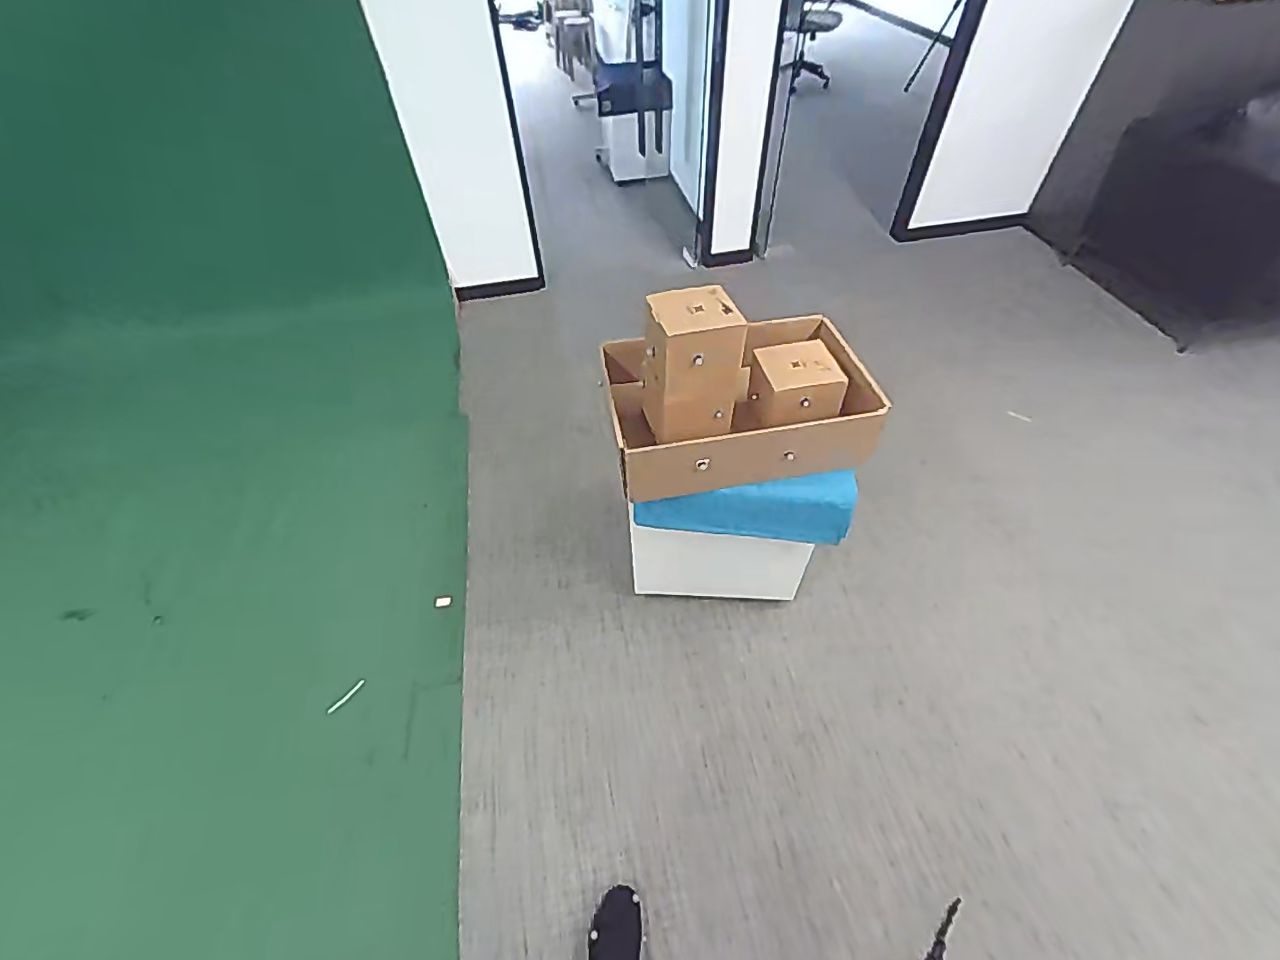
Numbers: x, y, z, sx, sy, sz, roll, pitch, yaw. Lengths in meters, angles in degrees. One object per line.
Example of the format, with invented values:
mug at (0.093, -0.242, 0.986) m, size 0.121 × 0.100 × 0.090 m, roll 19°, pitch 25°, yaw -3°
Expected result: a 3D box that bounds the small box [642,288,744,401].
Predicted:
small box at (0.111, -0.294, 1.187) m, size 0.179 × 0.176 × 0.168 m, roll -12°, pitch 50°, yaw -9°
